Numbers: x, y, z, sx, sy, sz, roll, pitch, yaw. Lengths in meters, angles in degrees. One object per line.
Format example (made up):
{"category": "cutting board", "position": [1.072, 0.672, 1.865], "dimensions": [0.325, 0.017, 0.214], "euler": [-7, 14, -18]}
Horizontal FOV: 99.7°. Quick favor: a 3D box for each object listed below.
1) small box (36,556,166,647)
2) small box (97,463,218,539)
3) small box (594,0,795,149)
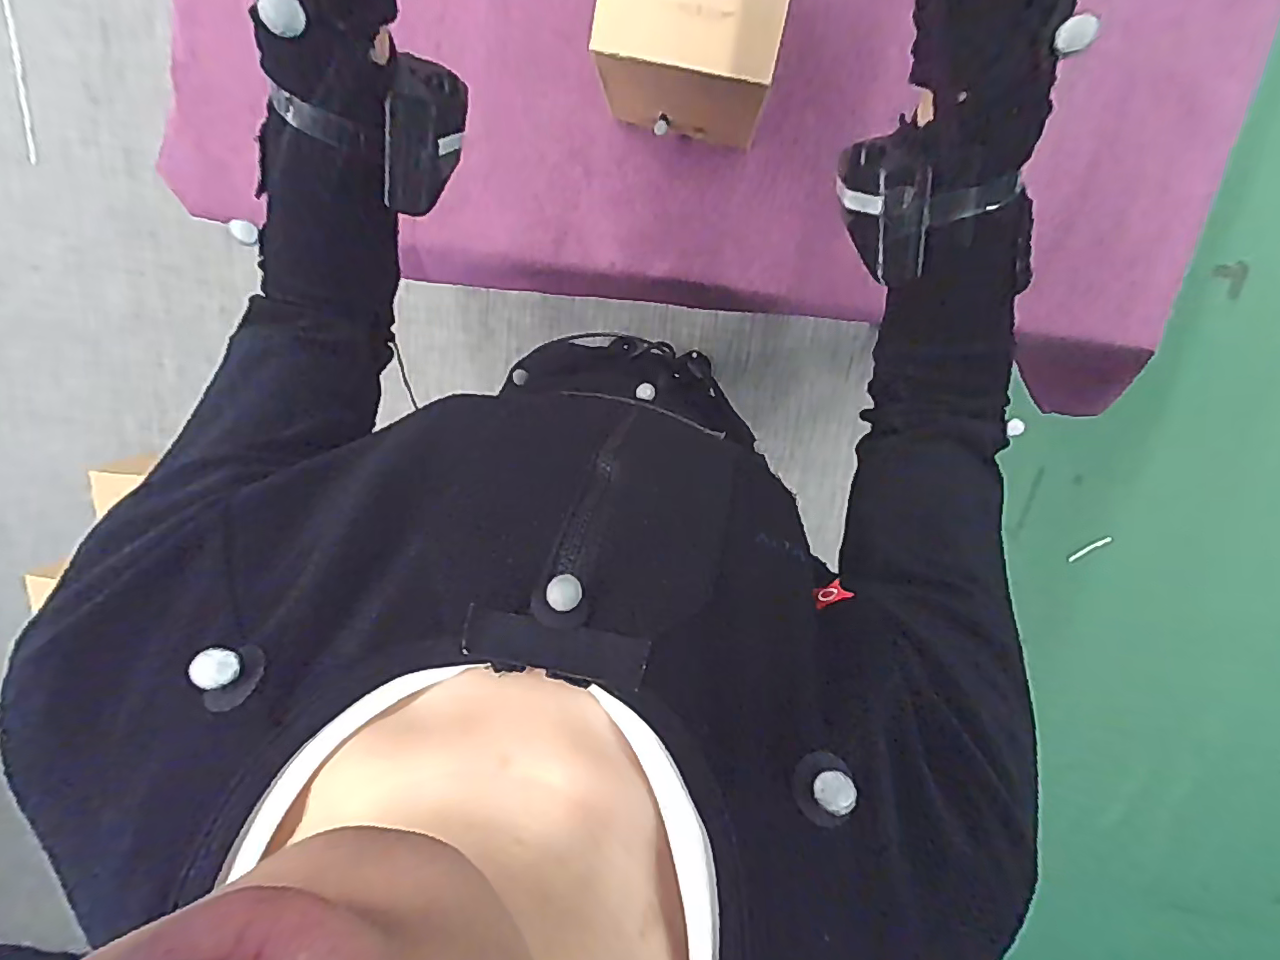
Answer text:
{"category": "small box", "position": [-1.380, 0.308, 1.402], "dimensions": [0.179, 0.176, 0.168], "euler": [6, 105, 3]}
{"category": "small box", "position": [-1.330, 0.052, 1.501], "dimensions": [0.179, 0.176, 0.168], "euler": [5, 105, 3]}
{"category": "small box", "position": [0.060, -0.461, 0.530], "dimensions": [0.168, 0.176, 0.179], "euler": [12, 105, 1]}
